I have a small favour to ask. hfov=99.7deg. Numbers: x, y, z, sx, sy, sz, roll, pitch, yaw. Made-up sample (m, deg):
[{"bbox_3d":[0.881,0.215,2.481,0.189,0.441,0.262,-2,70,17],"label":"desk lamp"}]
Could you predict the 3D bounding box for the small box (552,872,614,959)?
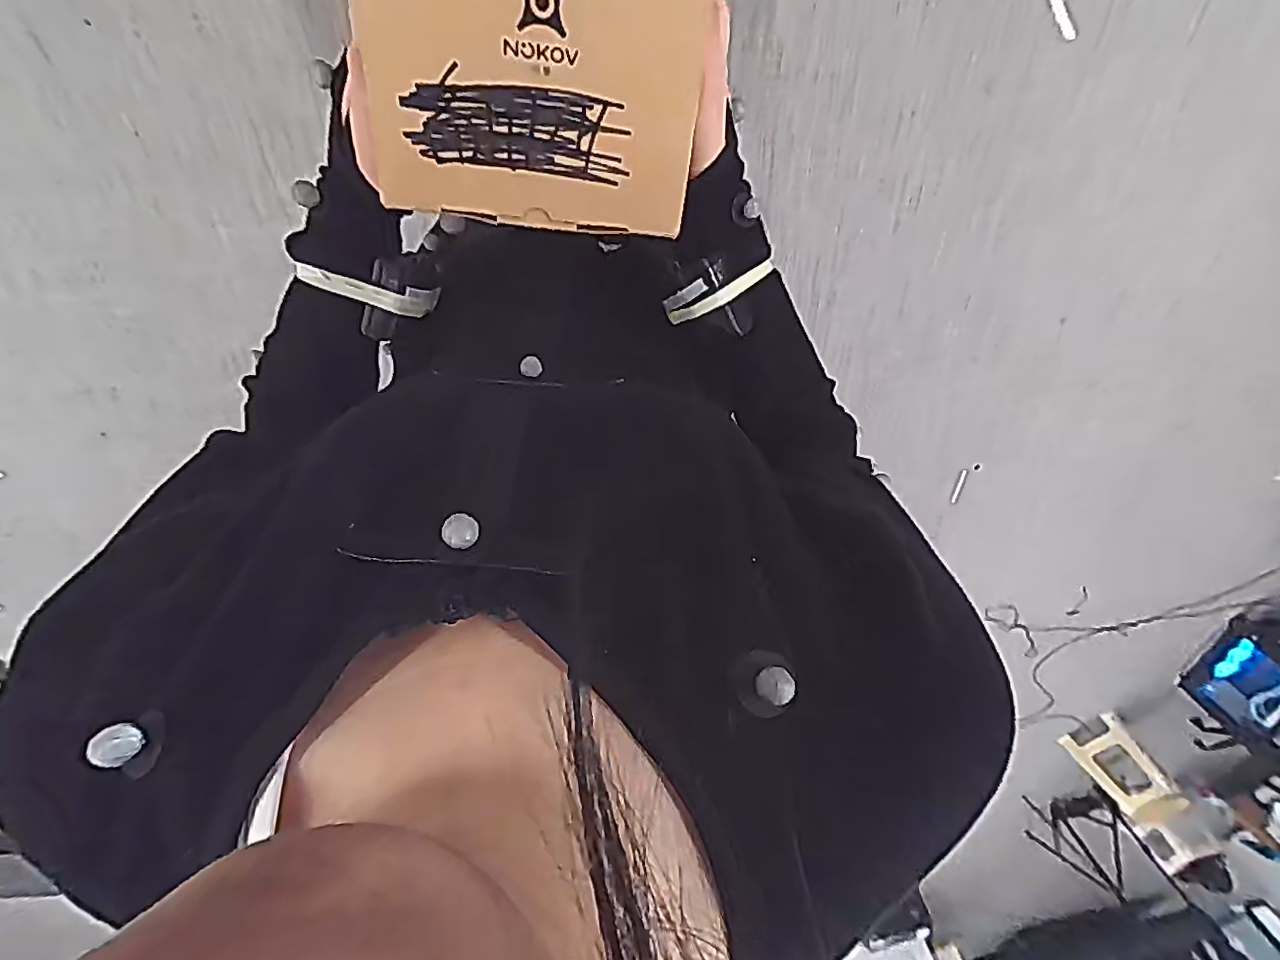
[{"bbox_3d":[-0.169,1.288,1.585,0.168,0.176,0.179,-5,125,-9],"label":"small box"}]
